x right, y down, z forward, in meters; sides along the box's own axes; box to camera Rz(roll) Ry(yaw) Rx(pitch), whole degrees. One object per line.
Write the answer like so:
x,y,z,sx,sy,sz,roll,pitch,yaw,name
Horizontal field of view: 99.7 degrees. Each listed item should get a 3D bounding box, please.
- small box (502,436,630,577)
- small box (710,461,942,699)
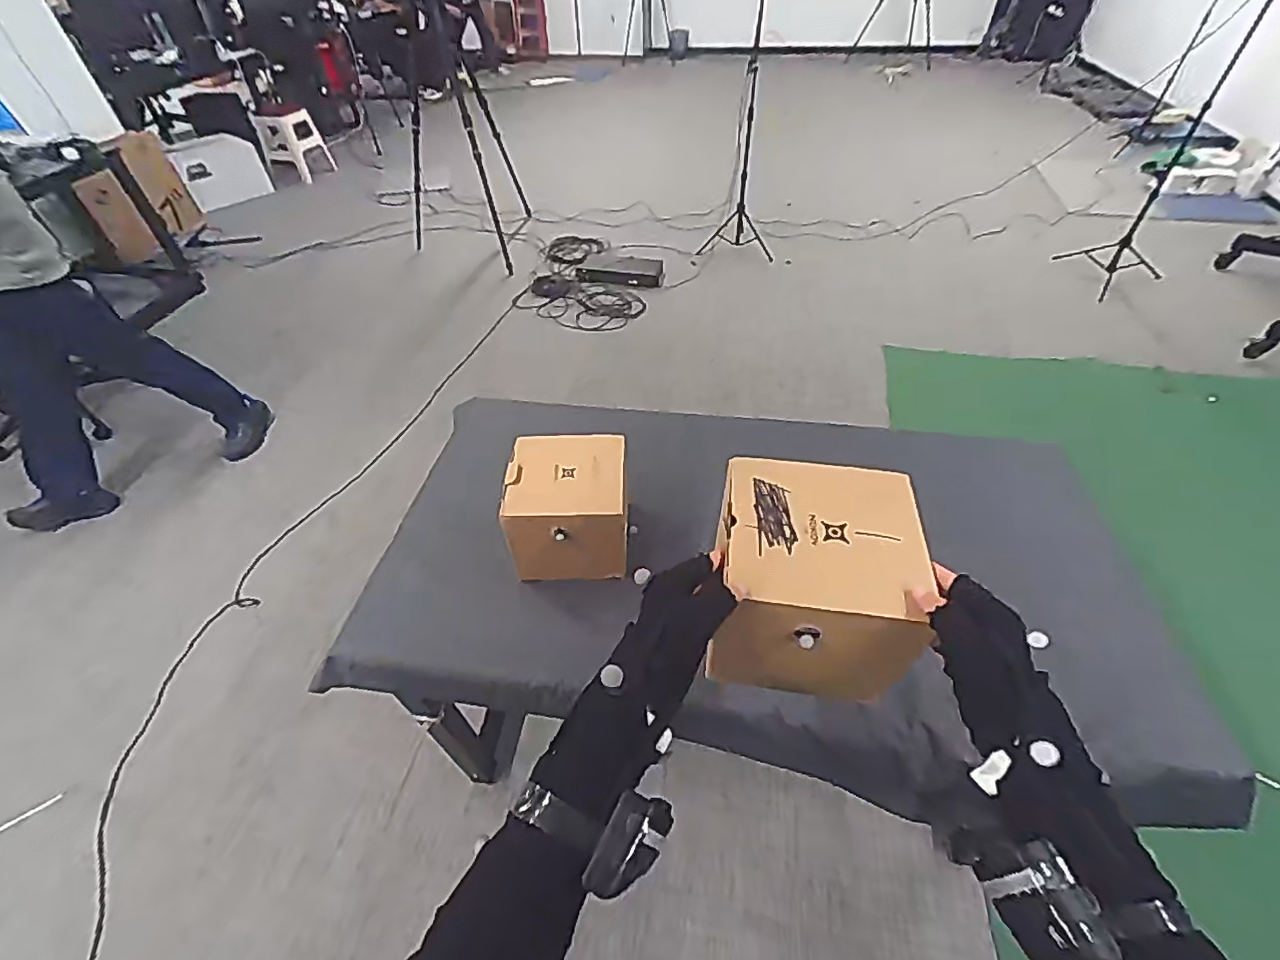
-0.108,0.046,0.872,0.179,0.176,0.168,0,48,0,small box
0.167,0.103,0.546,0.179,0.176,0.168,6,48,5,small box
